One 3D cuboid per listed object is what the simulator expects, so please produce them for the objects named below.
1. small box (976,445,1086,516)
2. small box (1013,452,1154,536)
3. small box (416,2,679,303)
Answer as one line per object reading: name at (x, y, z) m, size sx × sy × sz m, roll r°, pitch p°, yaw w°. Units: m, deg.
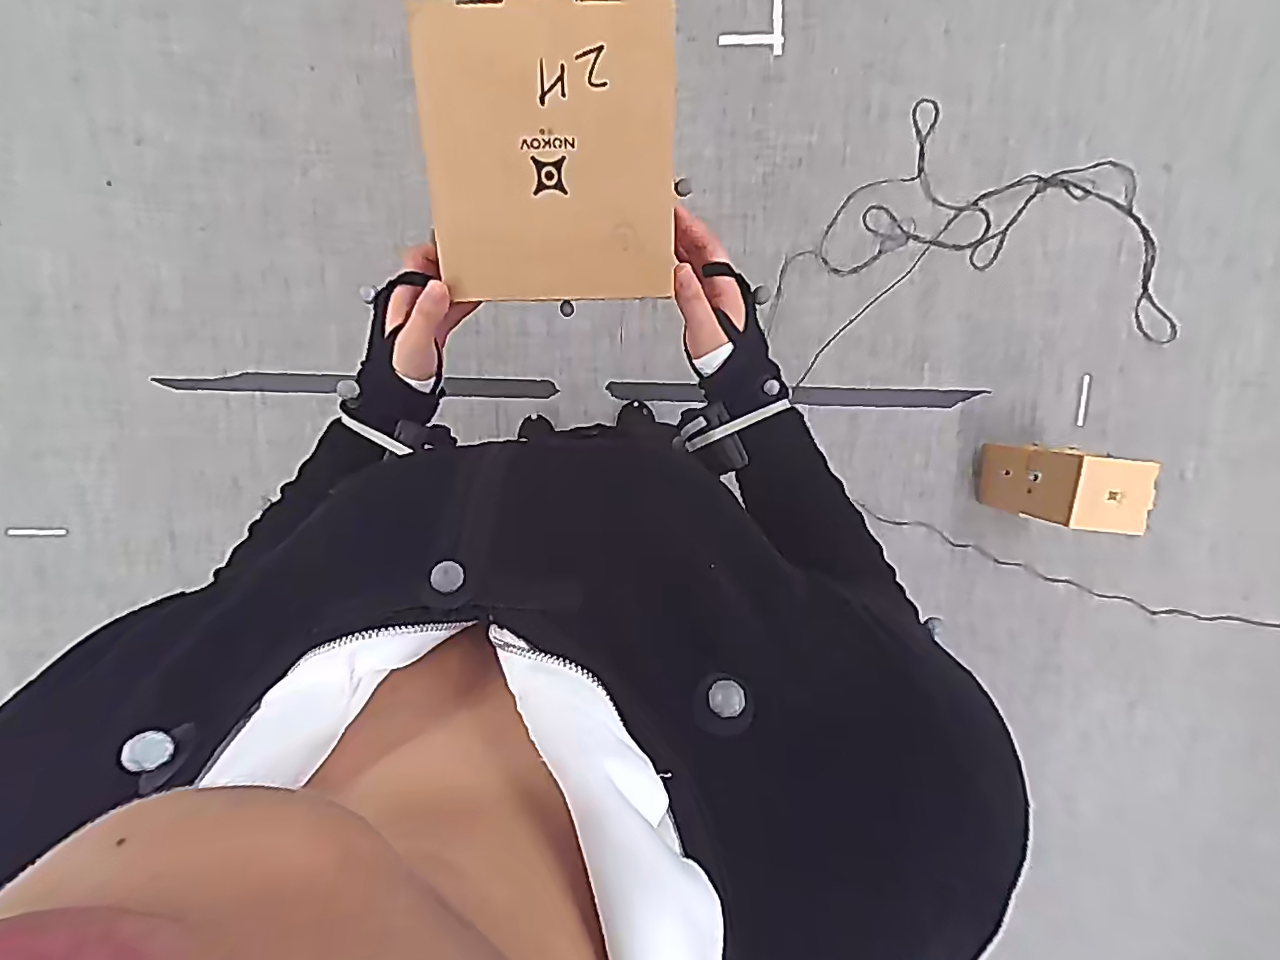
small box at (1.028, -0.002, 1.437) m, size 0.168 × 0.176 × 0.179 m, roll 1°, pitch 98°, yaw -2°
small box at (1.035, 0.027, 1.276) m, size 0.179 × 0.176 × 0.168 m, roll 5°, pitch 98°, yaw -1°
small box at (-0.056, -0.238, 0.435) m, size 0.168 × 0.176 × 0.179 m, roll -1°, pitch 109°, yaw 0°
